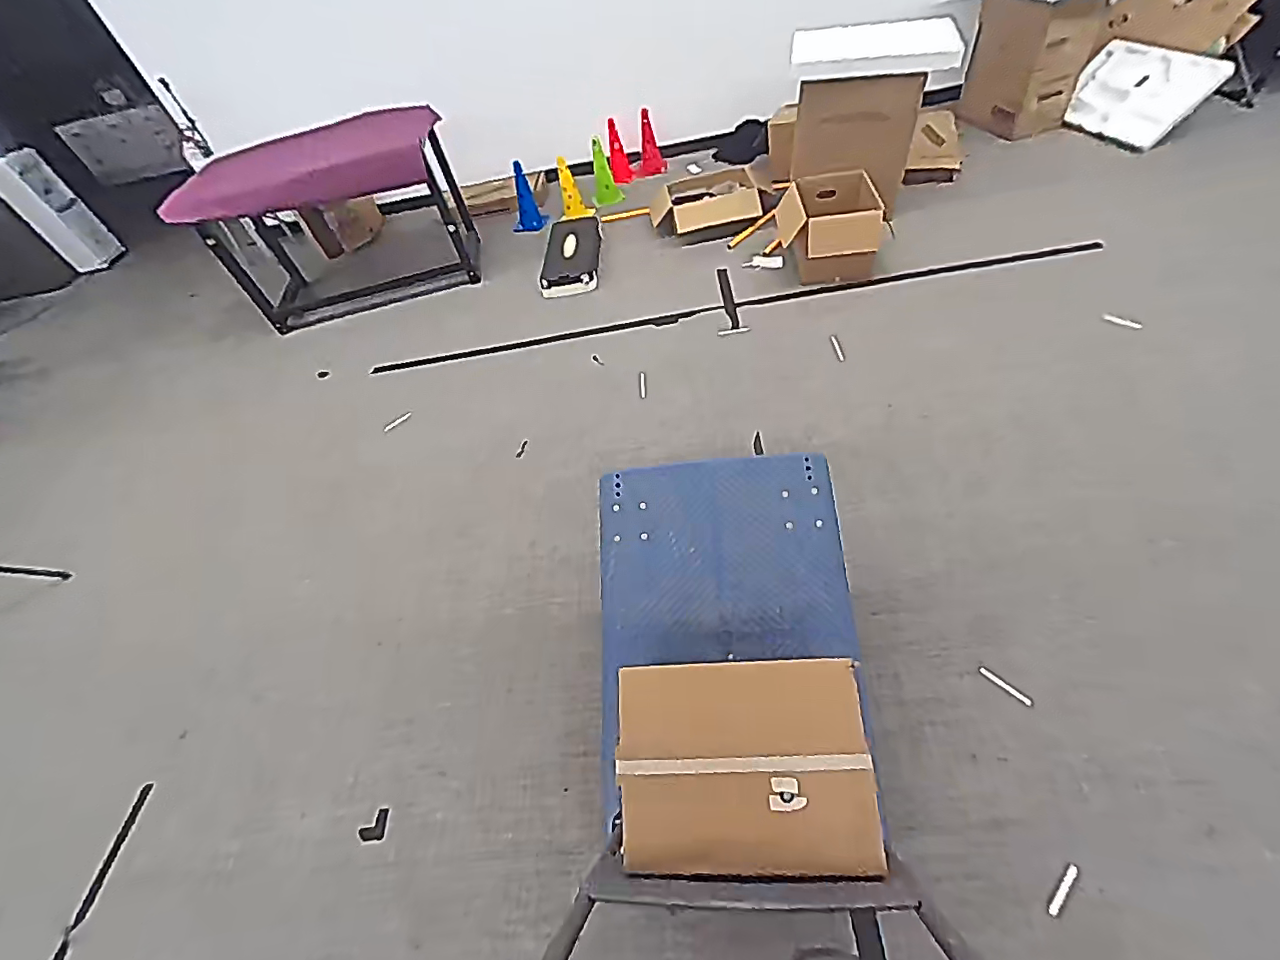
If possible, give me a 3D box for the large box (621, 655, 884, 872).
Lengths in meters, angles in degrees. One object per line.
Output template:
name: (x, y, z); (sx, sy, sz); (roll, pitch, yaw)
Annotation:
large box: (0.191, 0.516, 1.040); (0.408, 0.320, 0.320); (-6, 71, 7)
